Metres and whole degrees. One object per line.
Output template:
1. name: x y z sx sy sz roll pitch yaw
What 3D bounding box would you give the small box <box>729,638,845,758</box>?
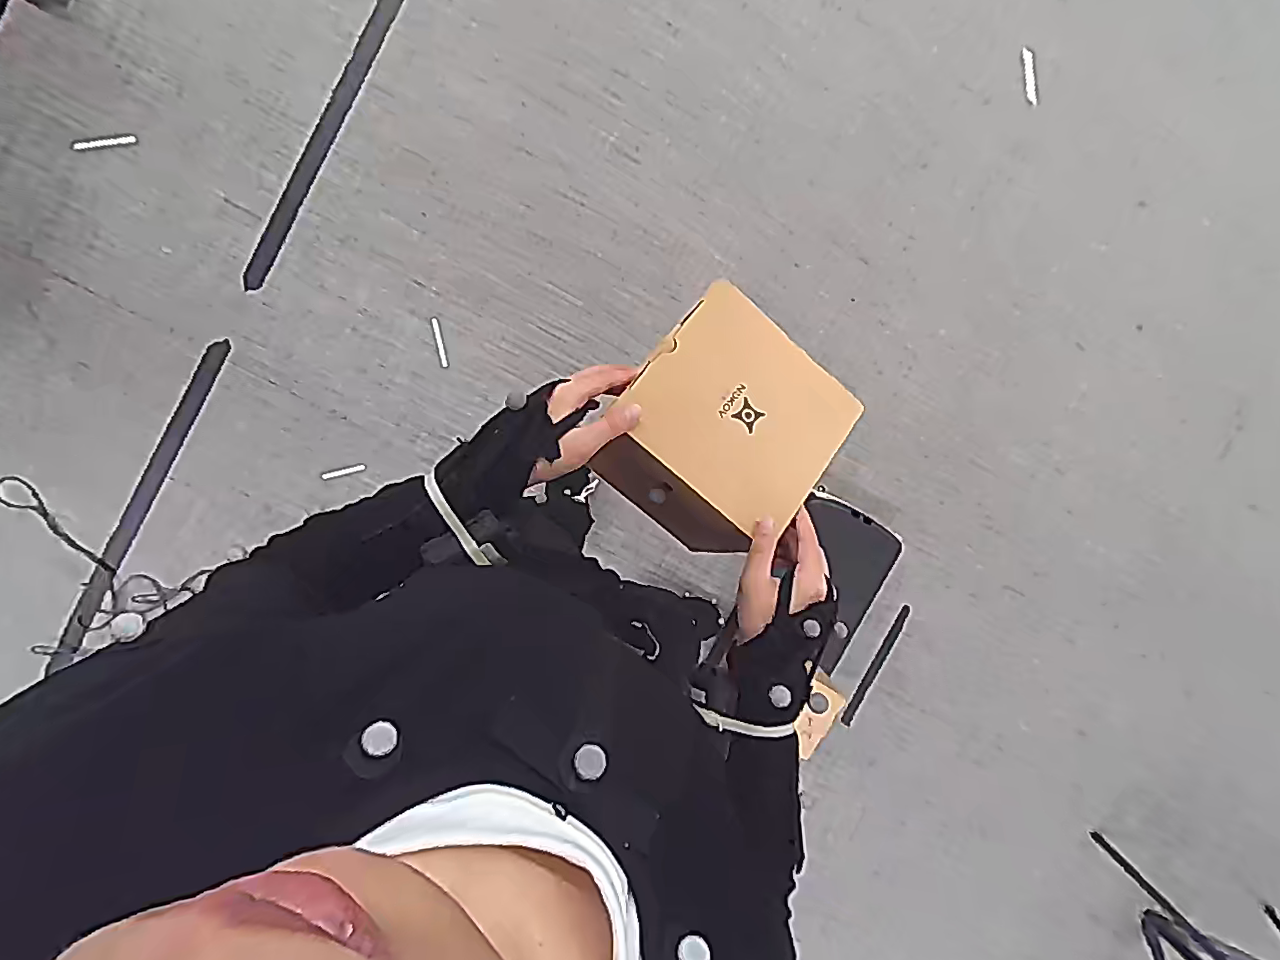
1. small box: 0.329 0.492 1.254 0.179 0.176 0.168 32 93 -6

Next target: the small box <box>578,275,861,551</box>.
1. small box: 0.062 -0.049 0.520 0.179 0.176 0.168 39 75 -7
